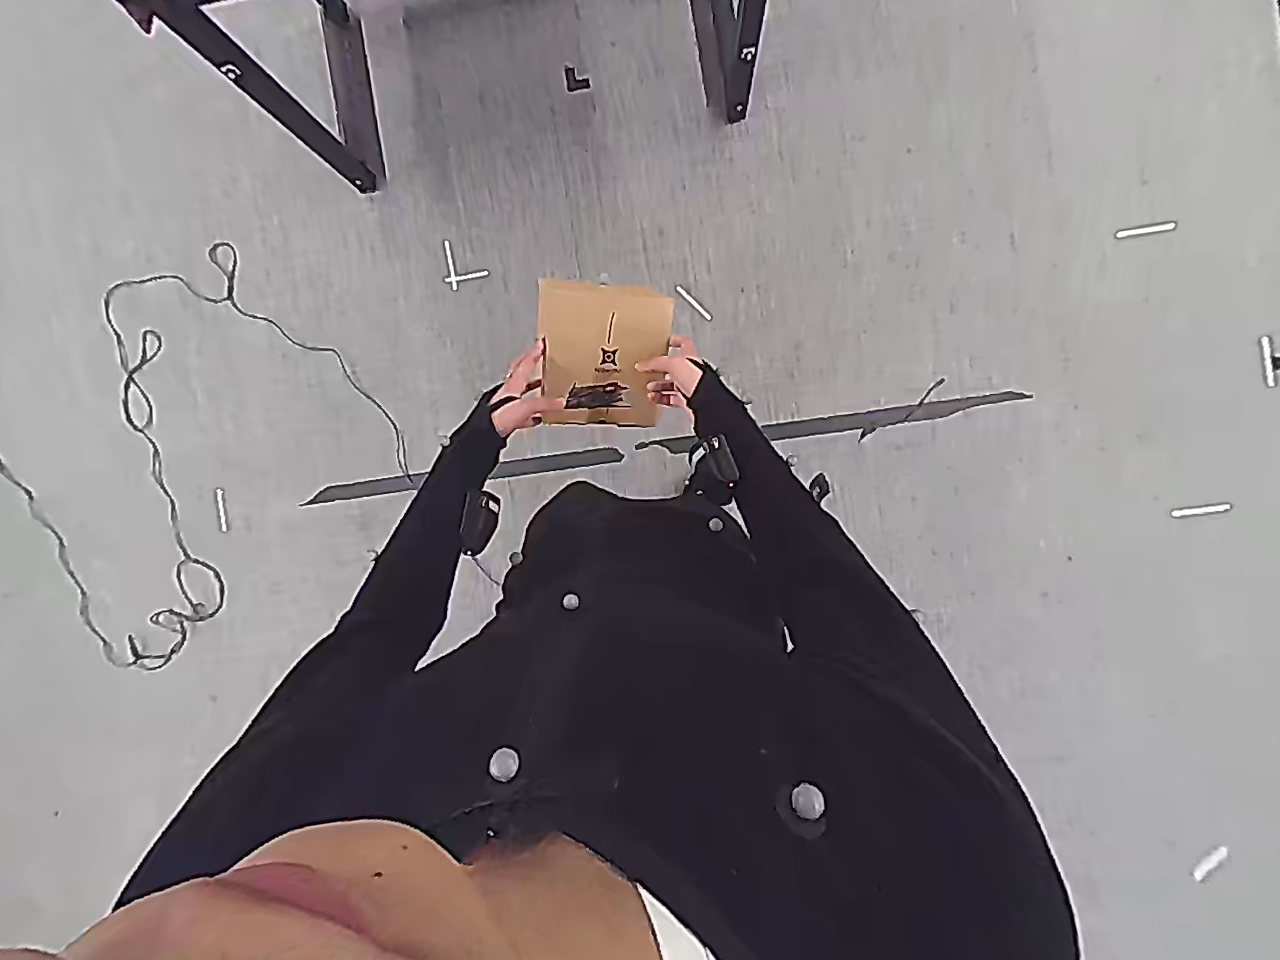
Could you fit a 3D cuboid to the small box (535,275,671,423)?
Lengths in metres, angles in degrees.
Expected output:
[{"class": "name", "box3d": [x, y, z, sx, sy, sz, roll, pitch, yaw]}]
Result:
[{"class": "small box", "box3d": [-0.064, -0.193, 0.786, 0.168, 0.176, 0.179, -1, 114, -14]}]
